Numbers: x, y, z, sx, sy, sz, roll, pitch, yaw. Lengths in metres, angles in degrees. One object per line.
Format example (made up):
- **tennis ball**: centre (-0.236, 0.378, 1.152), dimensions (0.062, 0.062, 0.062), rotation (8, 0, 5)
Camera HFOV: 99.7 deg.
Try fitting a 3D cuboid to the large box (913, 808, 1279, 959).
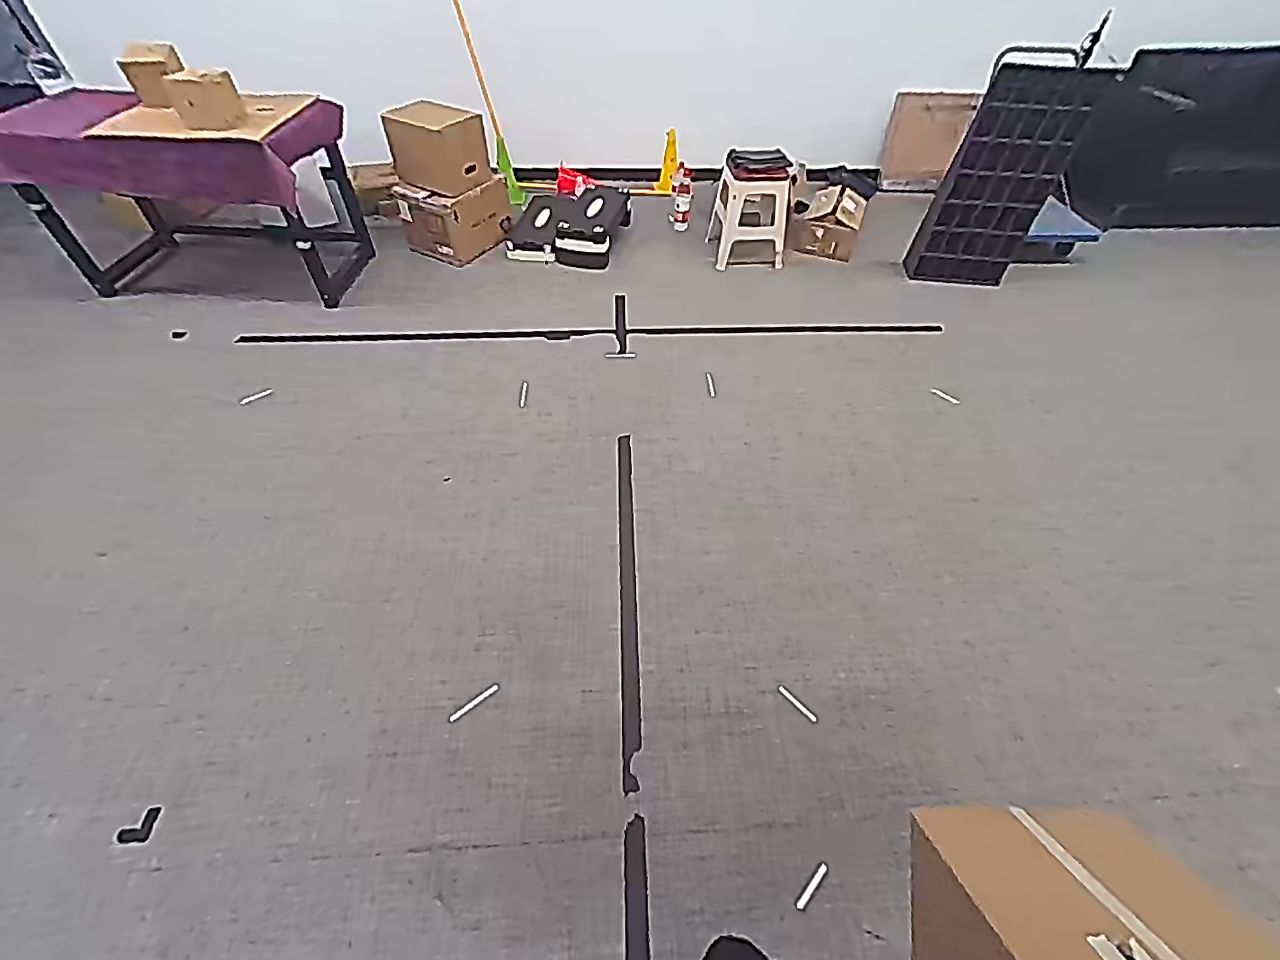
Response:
- **large box**: centre (0.568, 0.667, 0.641), dimensions (0.320, 0.408, 0.320), rotation (-1, 92, 3)
